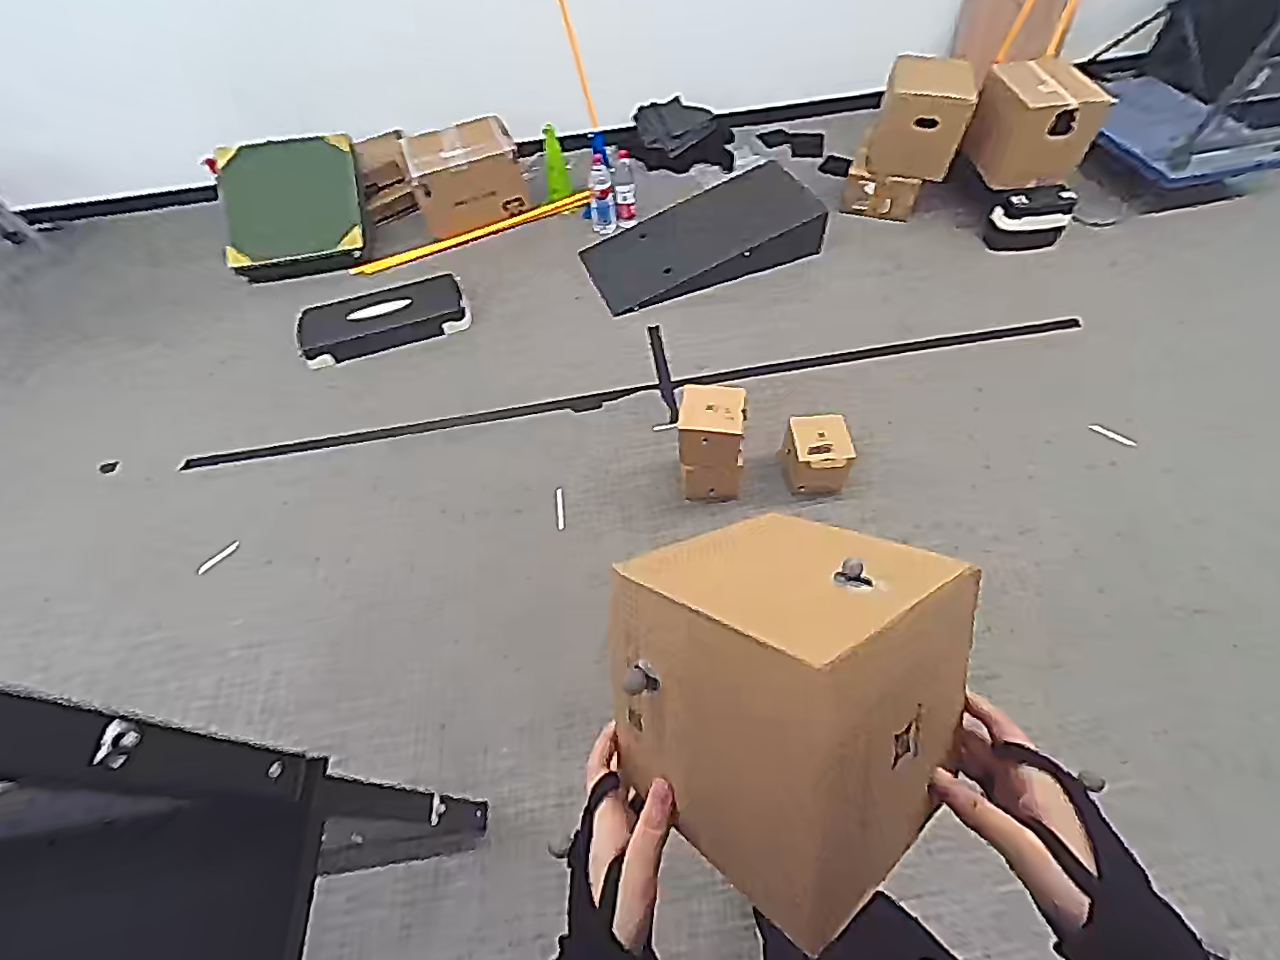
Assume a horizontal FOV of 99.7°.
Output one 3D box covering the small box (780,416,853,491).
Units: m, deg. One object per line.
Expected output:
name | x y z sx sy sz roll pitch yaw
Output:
small box | 0.542 -0.076 1.683 0.168 0.176 0.179 -3 55 1

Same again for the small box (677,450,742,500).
small box | 0.211 -0.051 1.688 0.179 0.176 0.168 -4 55 0

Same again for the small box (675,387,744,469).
small box | 0.200 -0.146 1.553 0.179 0.176 0.168 6 57 9
